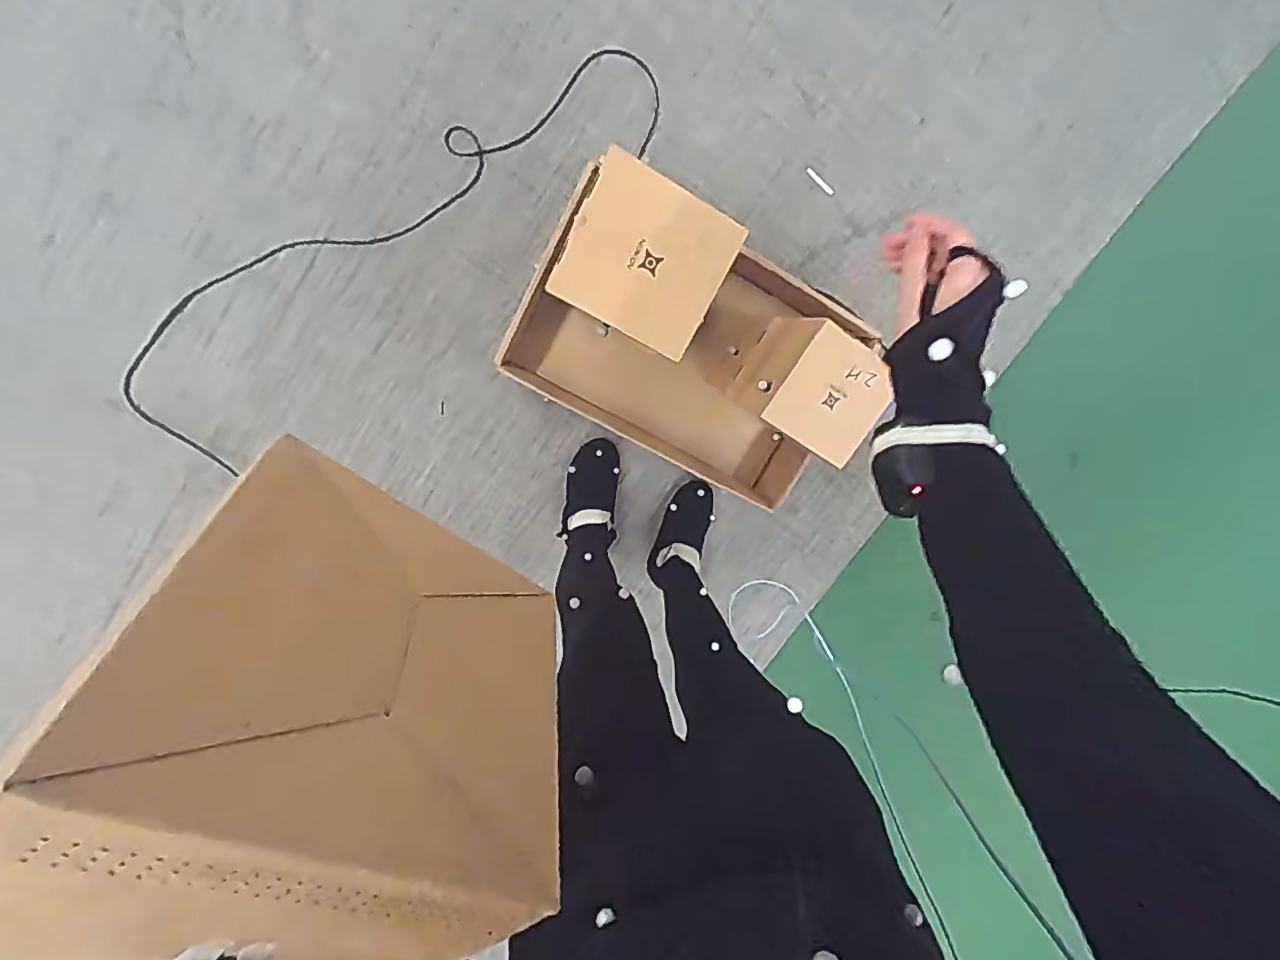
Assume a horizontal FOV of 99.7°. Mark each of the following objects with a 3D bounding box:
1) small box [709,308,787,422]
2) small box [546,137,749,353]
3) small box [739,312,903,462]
[{"bbox_3d":[0.258,-0.214,1.057,0.179,0.176,0.168,31,101,-13],"label":"small box"},{"bbox_3d":[0.003,-0.278,0.673,0.179,0.176,0.168,27,104,-12],"label":"small box"},{"bbox_3d":[0.285,-0.159,0.903,0.168,0.176,0.179,31,100,-14],"label":"small box"}]
